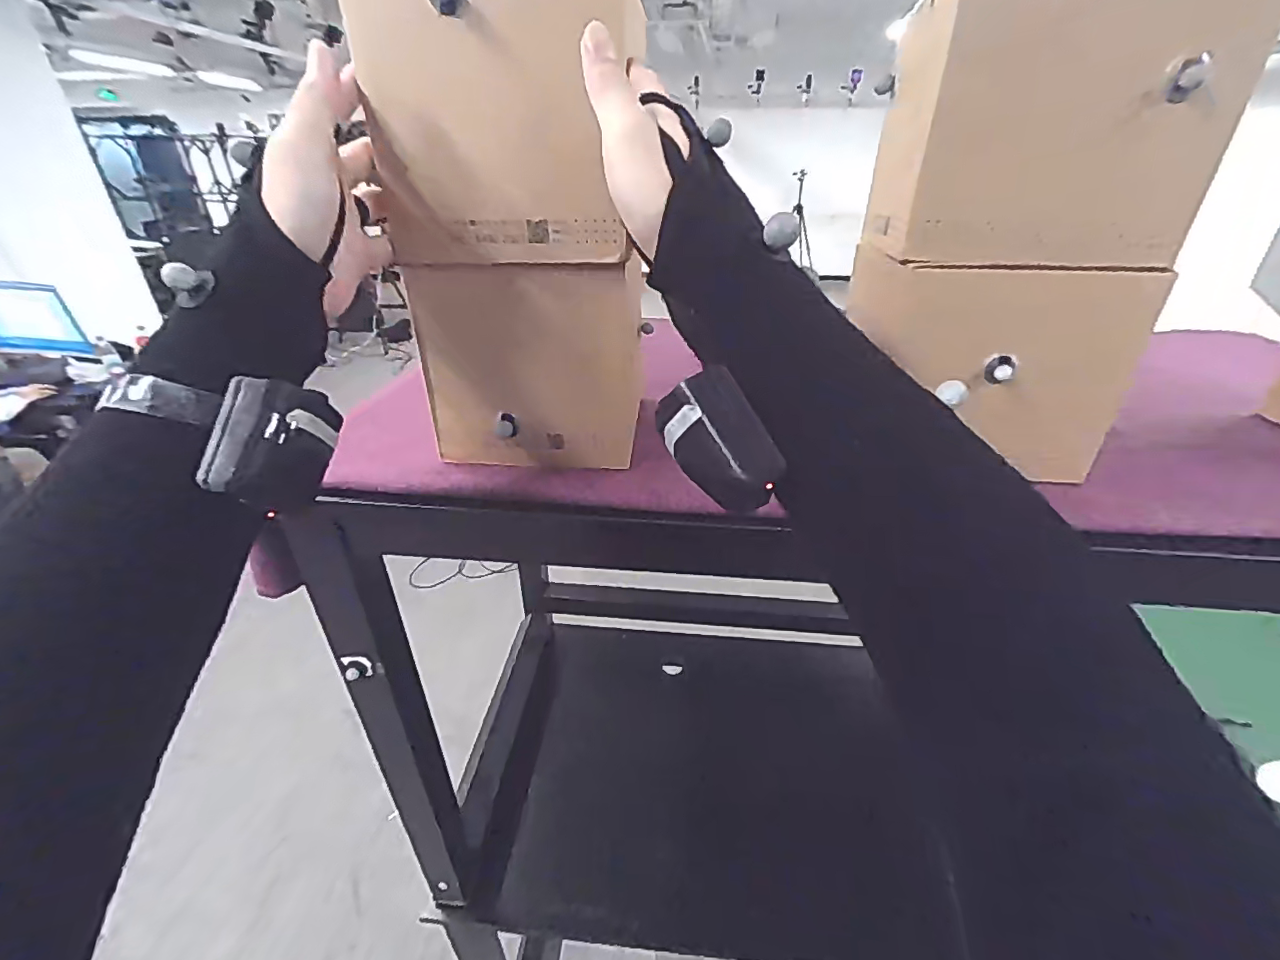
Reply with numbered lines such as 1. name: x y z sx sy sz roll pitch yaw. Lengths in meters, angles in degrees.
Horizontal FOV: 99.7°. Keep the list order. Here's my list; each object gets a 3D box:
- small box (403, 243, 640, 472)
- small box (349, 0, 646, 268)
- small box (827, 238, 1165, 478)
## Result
1. small box: -0.088 -0.123 0.499 0.168 0.176 0.179 2 29 4
2. small box: -0.084 -0.262 0.405 0.168 0.176 0.179 1 30 5
3. small box: 0.280 -0.112 0.480 0.179 0.176 0.168 3 29 7
